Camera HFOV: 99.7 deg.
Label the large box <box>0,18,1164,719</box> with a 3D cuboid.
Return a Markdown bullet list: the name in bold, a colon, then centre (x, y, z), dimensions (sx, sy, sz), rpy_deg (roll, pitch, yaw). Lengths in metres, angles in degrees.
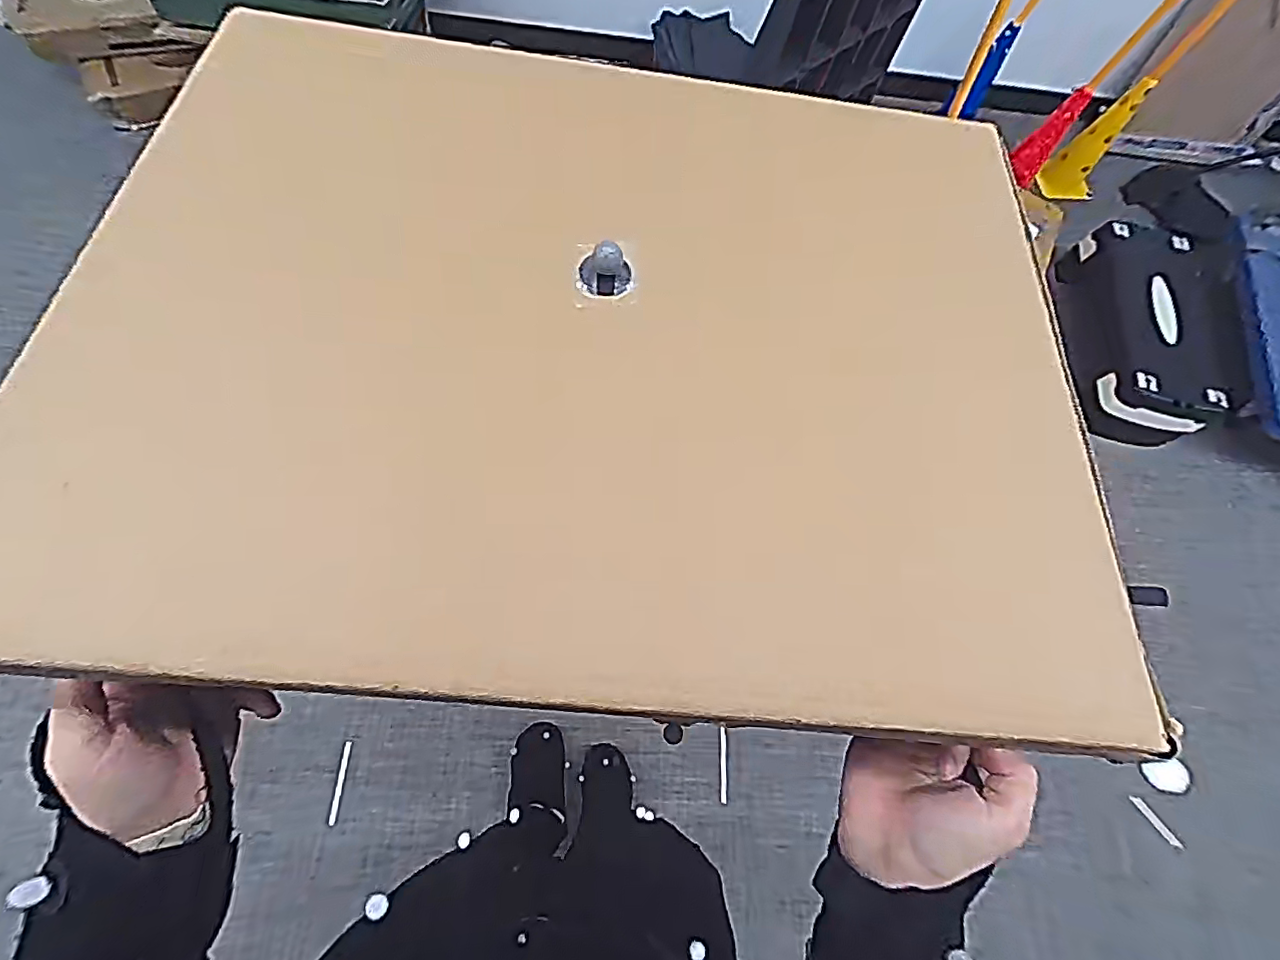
- **large box**: centre (-0.029, -0.028, 0.361), dimensions (0.408, 0.320, 0.320), rpy_deg (5, 69, -3)
